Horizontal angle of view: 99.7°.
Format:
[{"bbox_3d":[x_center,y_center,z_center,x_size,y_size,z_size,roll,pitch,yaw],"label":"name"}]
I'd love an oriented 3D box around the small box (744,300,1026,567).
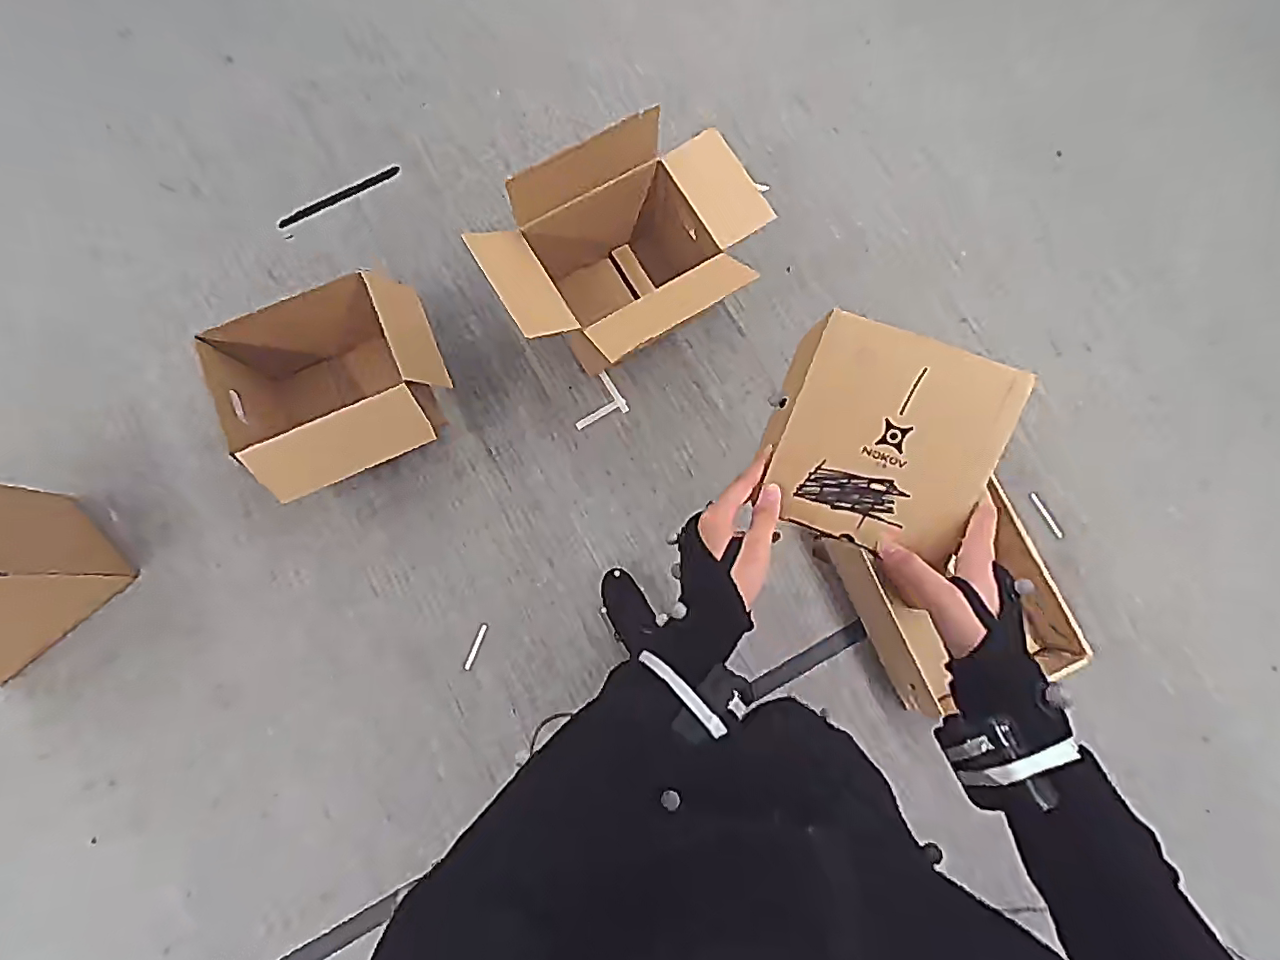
[{"bbox_3d":[0.205,-0.046,0.513,0.168,0.176,0.179,20,100,5],"label":"small box"}]
